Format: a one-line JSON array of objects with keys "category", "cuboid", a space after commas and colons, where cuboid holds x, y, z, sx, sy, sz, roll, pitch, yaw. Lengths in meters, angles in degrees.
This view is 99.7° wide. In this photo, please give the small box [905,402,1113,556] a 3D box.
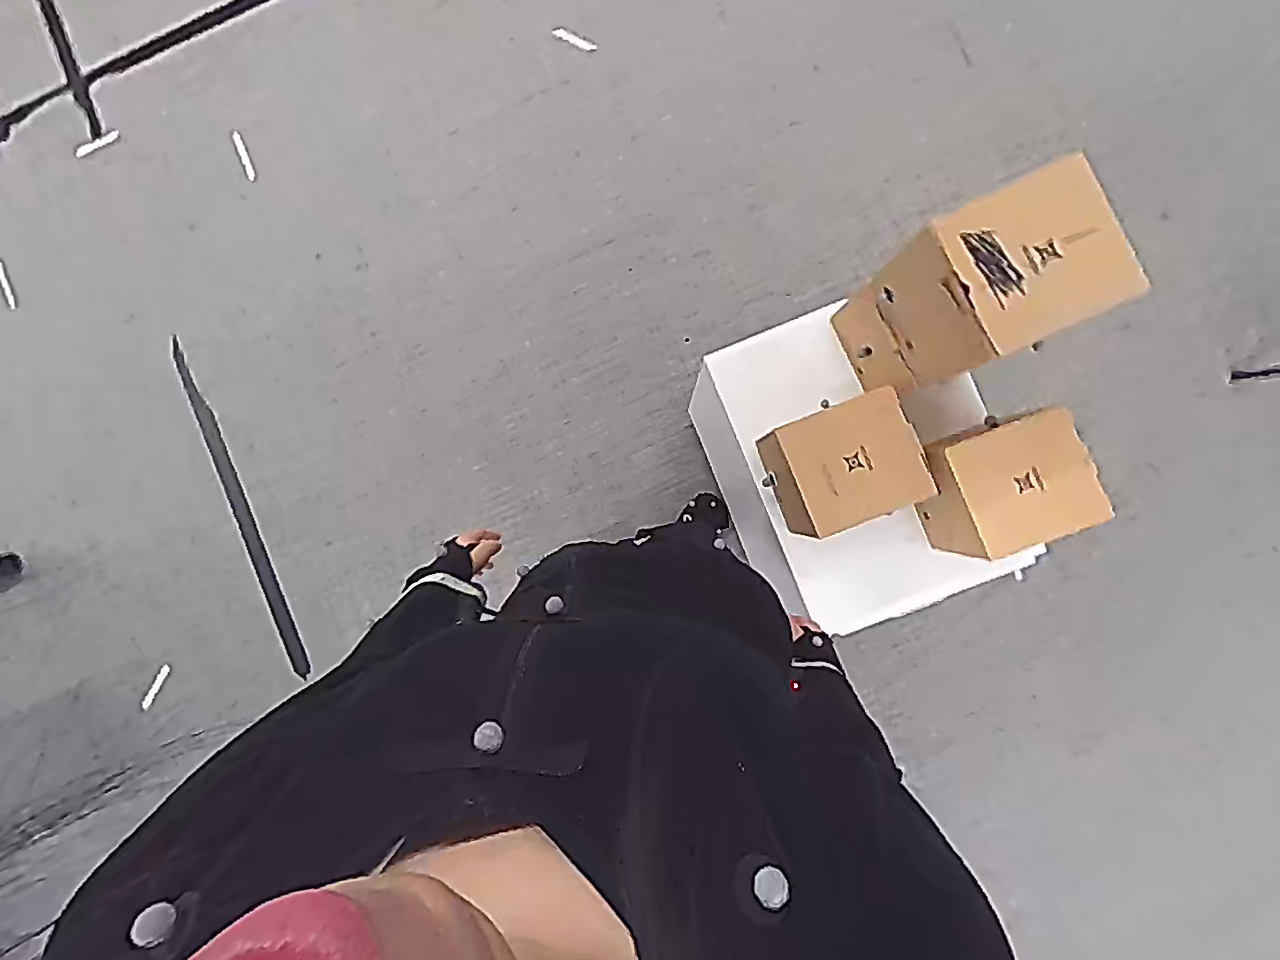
[{"category": "small box", "cuboid": [0.525, 0.003, 0.804, 0.179, 0.176, 0.168, -21, 87, 2]}]

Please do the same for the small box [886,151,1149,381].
[{"category": "small box", "cuboid": [0.424, -0.237, 0.648, 0.179, 0.176, 0.168, -25, 88, 2]}]
